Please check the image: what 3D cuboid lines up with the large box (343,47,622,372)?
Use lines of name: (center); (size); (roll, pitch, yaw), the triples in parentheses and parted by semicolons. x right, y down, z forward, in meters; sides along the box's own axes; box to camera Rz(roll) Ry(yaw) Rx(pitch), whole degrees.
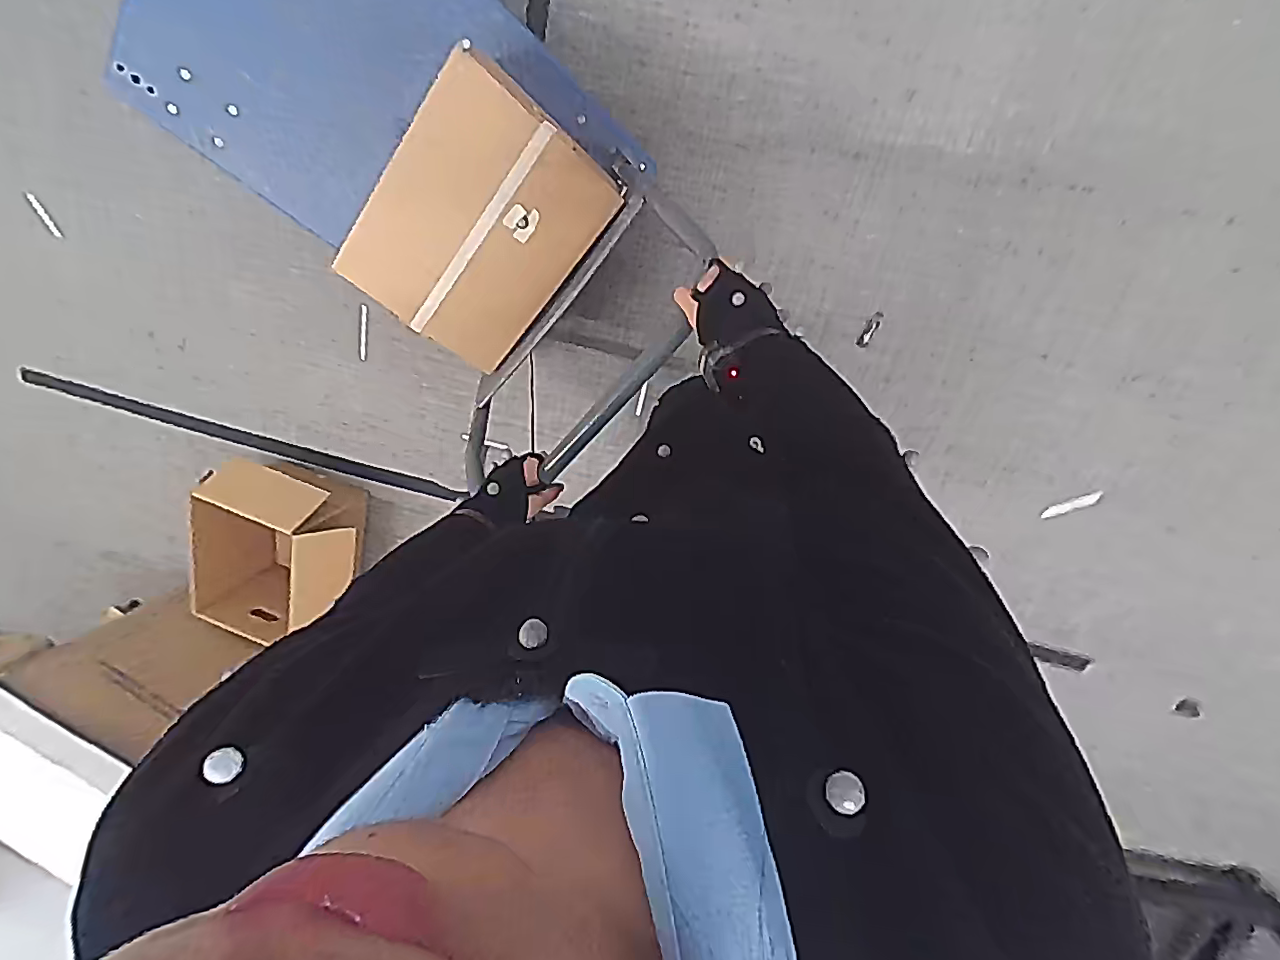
large box: (-0.284, -0.494, 1.034); (0.320, 0.320, 0.408); (33, 113, -26)
